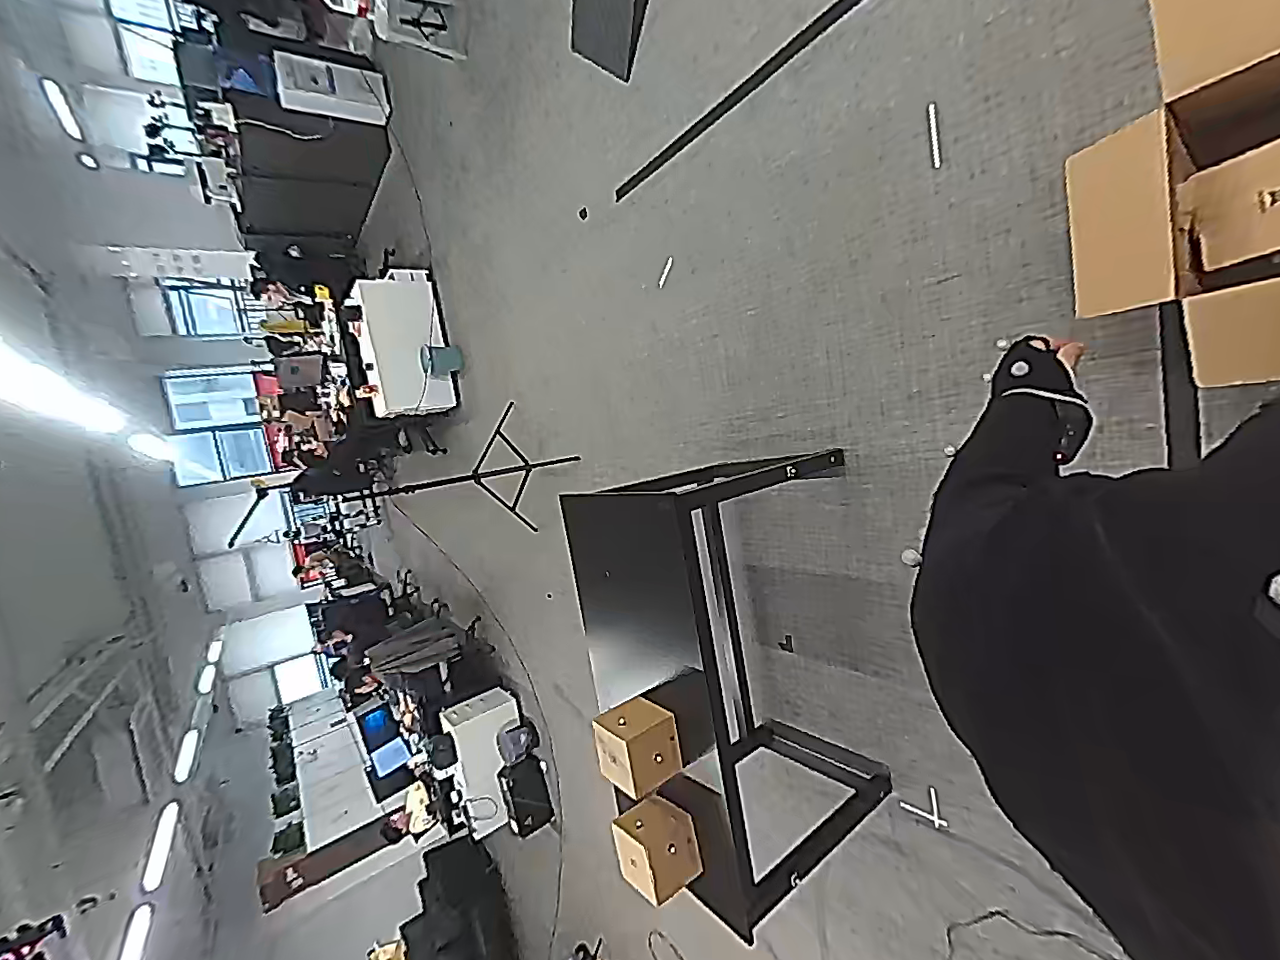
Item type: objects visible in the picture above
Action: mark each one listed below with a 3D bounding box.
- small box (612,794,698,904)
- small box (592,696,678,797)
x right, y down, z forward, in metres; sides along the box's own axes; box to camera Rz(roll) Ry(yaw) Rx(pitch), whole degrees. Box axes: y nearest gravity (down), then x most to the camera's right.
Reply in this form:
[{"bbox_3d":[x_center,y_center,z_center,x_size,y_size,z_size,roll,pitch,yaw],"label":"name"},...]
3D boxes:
[{"bbox_3d":[0.048,1.033,1.536,0.179,0.176,0.168,-12,90,56],"label":"small box"},{"bbox_3d":[-0.007,0.732,1.511,0.179,0.176,0.168,-1,99,55],"label":"small box"}]
